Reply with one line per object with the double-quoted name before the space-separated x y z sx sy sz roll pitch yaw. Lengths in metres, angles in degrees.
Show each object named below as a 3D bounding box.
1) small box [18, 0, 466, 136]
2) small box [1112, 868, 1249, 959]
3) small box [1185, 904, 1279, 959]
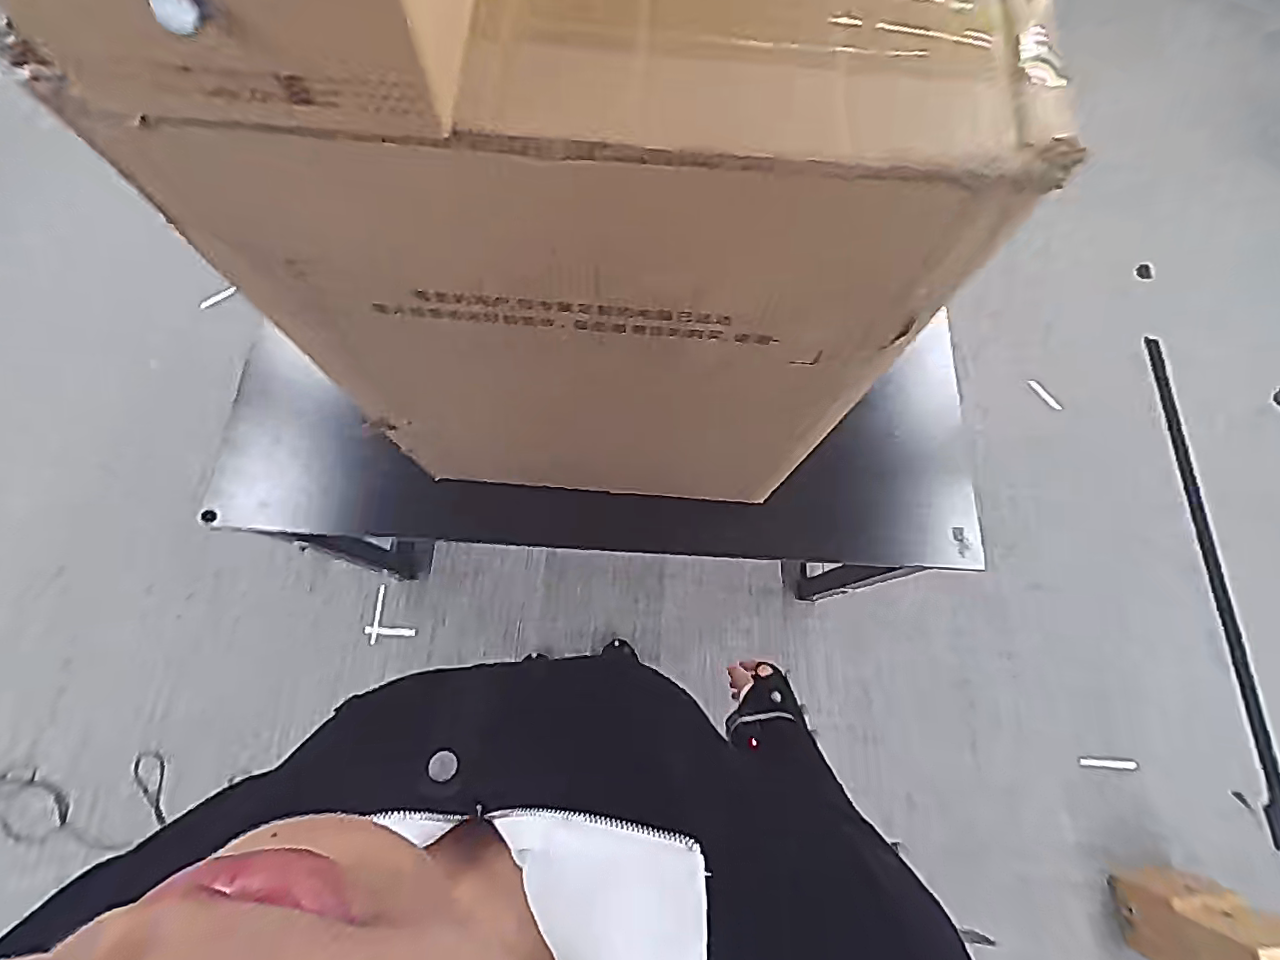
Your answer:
"small box" -0.165 -0.272 0.198 0.168 0.176 0.179 4 75 -1
"small box" 1.272 1.030 1.259 0.179 0.176 0.168 -3 72 -2
"small box" 1.276 0.996 1.098 0.179 0.176 0.168 -3 72 -3
